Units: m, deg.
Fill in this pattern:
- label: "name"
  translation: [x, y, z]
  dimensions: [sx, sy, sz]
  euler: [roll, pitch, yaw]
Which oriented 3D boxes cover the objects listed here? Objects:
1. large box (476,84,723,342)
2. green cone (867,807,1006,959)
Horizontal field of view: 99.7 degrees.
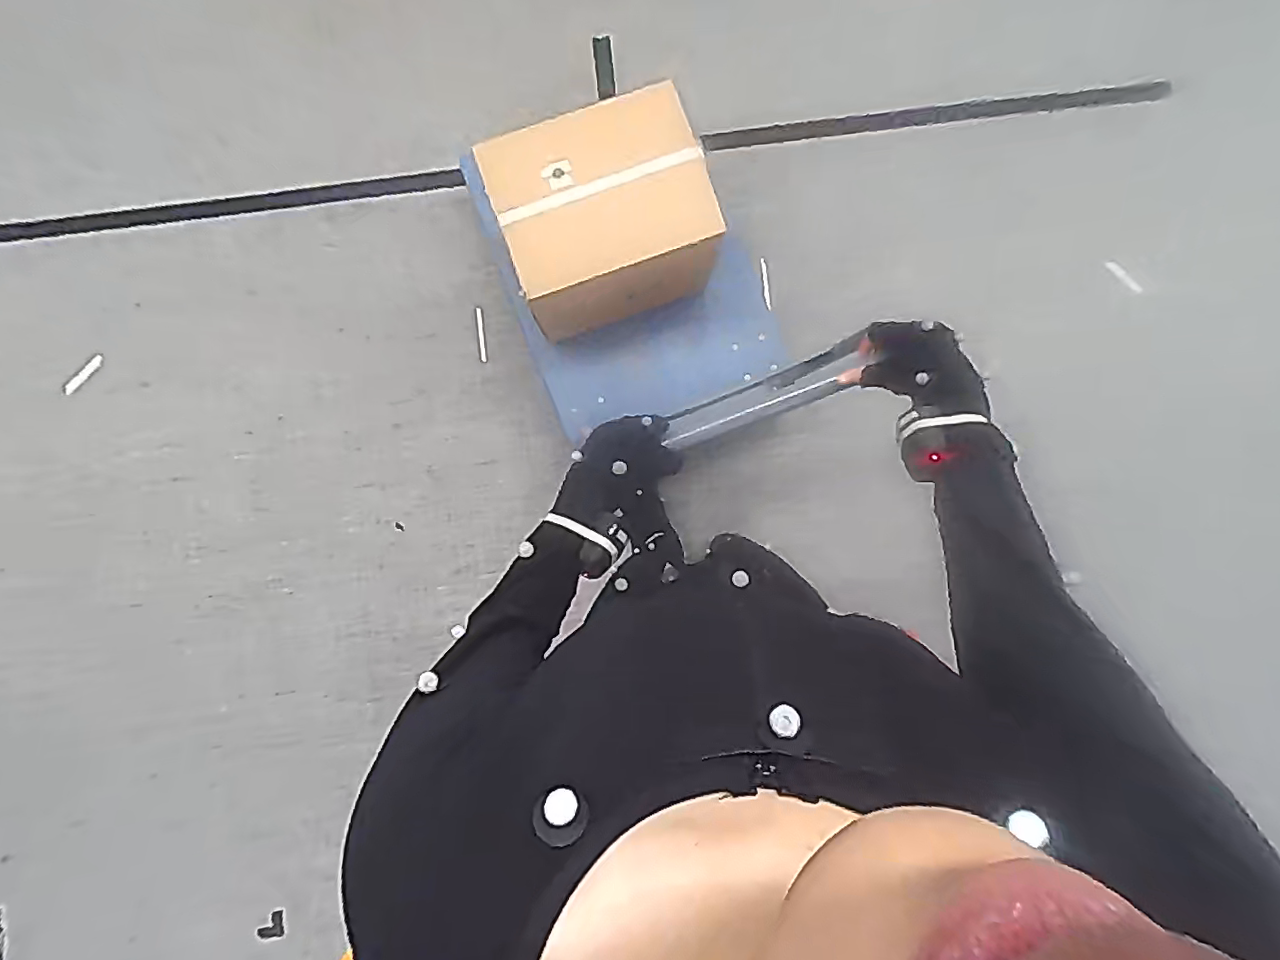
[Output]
- label: "large box"
  translation: [-0.077, -0.543, 1.174]
  dimensions: [0.408, 0.320, 0.320]
  euler: [-20, 89, 0]
- label: "green cone"
  translation: [0.718, 0.983, 1.282]
  dimensions: [0.202, 0.368, 0.200]
  euler: [-3, 88, -2]
